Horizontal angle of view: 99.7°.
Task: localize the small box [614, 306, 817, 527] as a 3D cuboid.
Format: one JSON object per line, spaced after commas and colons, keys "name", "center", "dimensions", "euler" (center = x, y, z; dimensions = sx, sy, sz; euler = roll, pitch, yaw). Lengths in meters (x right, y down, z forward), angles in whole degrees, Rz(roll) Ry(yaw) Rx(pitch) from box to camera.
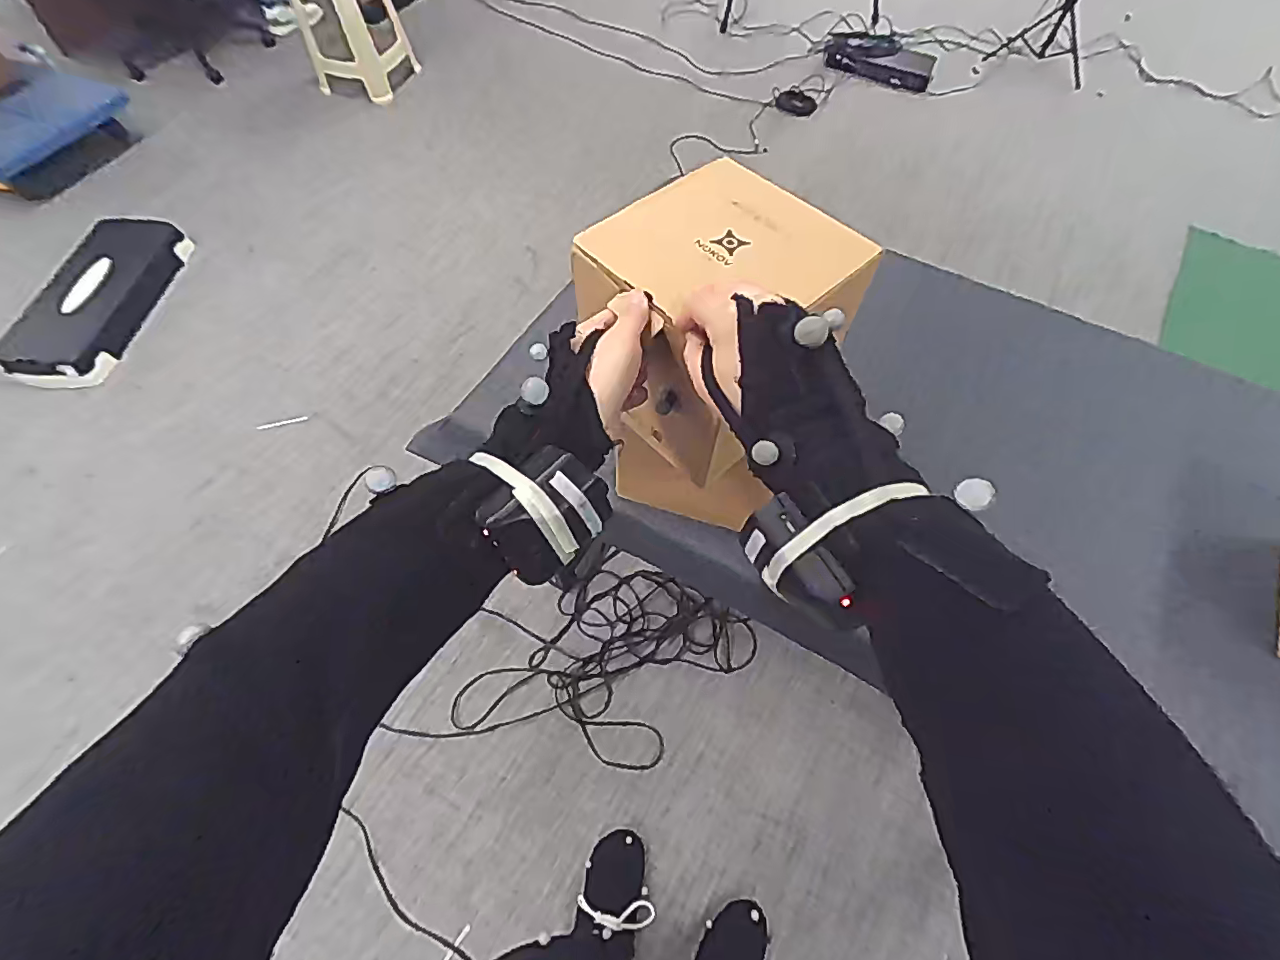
{"name": "small box", "center": [0.081, -0.064, 0.621], "dimensions": [0.179, 0.176, 0.168], "euler": [17, 61, 9]}
